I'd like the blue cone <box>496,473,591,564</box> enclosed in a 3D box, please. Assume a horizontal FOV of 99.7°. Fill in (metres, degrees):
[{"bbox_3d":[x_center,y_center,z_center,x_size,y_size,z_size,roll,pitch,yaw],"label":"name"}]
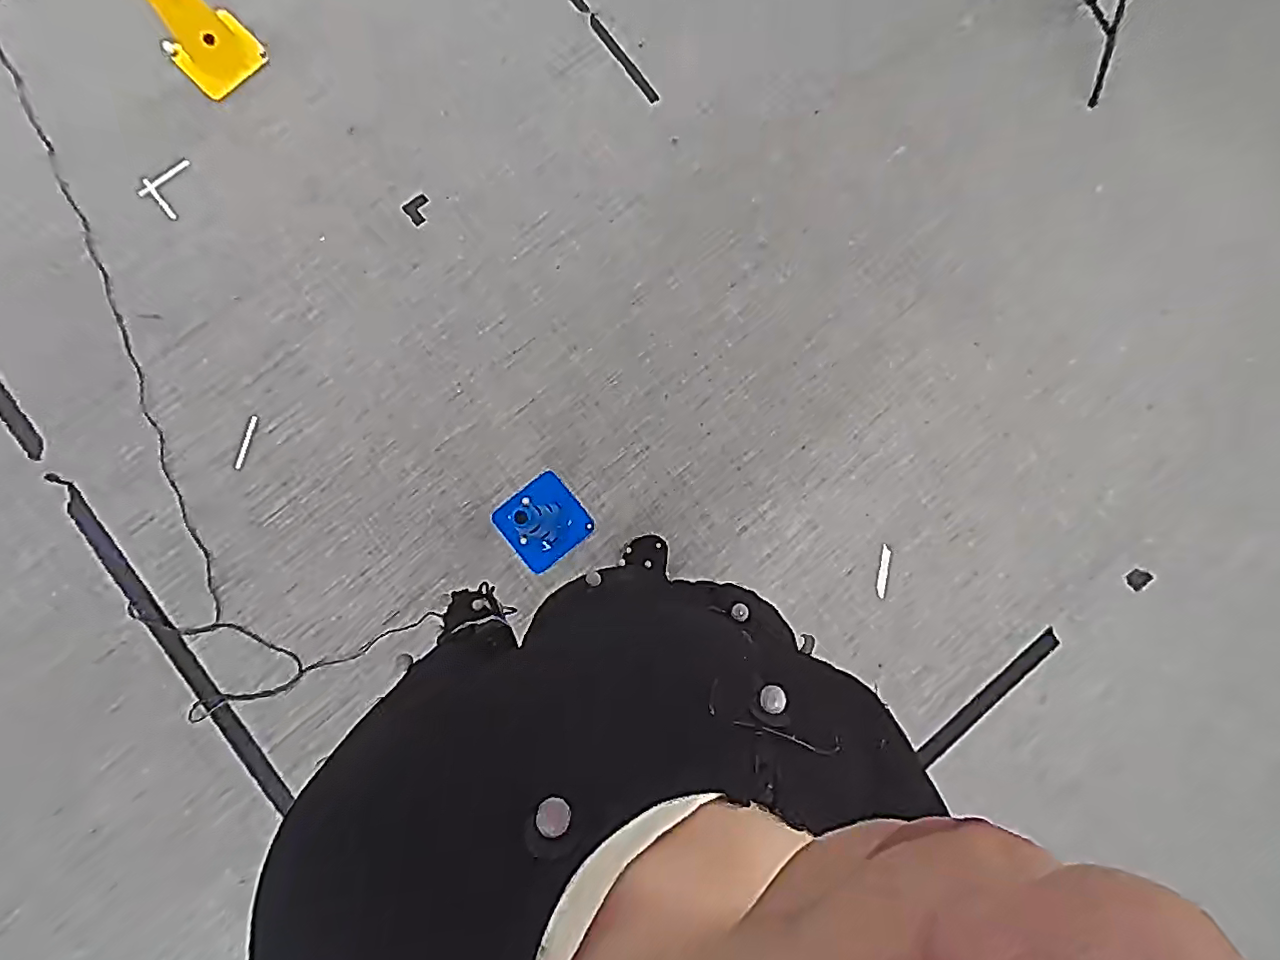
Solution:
[{"bbox_3d":[-0.235,0.080,1.206,0.192,0.380,0.193,-38,87,-7],"label":"blue cone"}]
